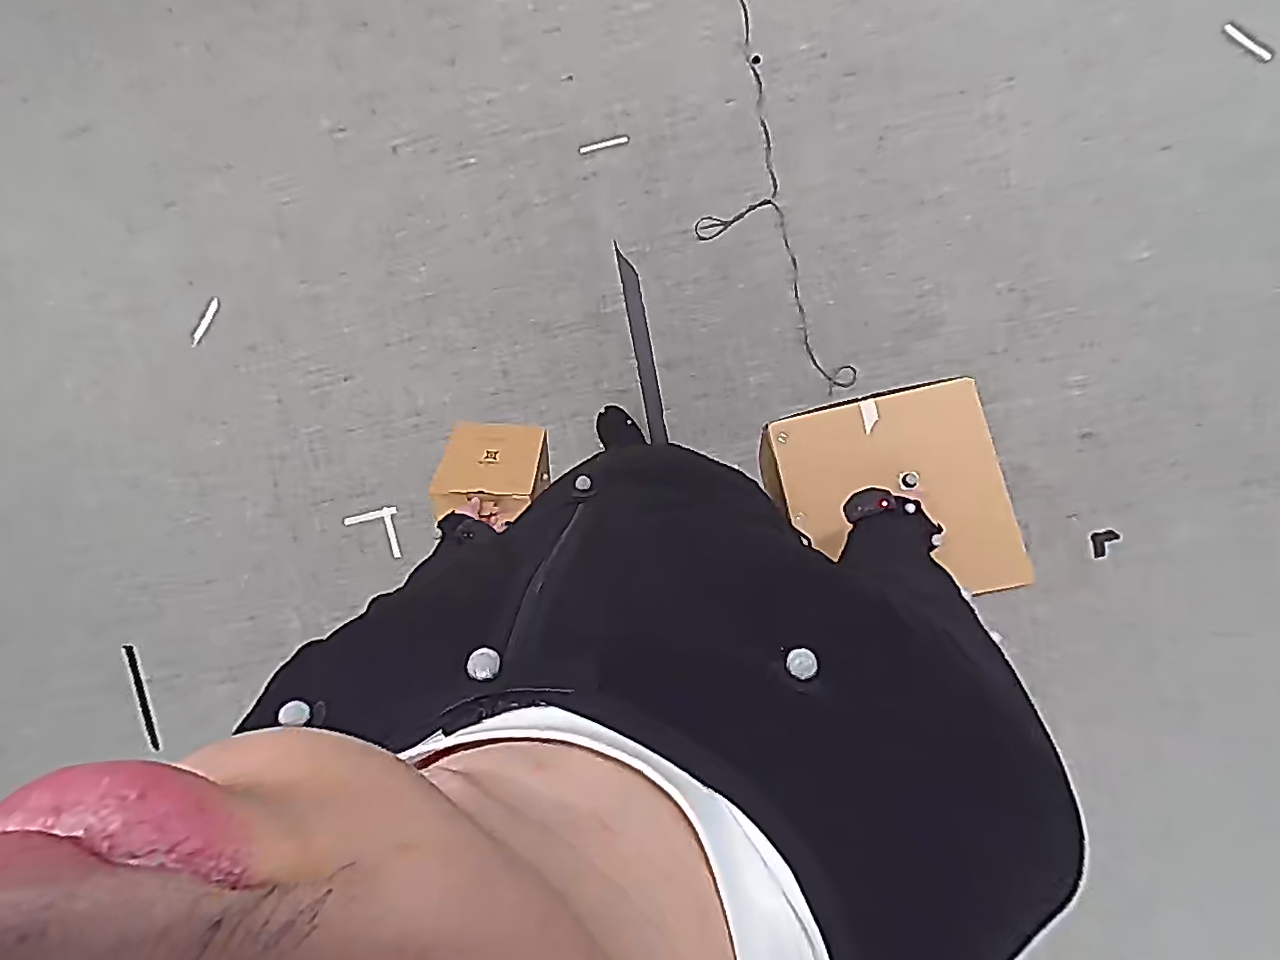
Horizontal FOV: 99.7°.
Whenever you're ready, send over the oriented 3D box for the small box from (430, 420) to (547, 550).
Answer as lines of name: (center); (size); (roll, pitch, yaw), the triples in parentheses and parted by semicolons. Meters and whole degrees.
small box: (-0.265, 0.013, 0.994); (0.168, 0.179, 0.176); (4, 137, -3)
